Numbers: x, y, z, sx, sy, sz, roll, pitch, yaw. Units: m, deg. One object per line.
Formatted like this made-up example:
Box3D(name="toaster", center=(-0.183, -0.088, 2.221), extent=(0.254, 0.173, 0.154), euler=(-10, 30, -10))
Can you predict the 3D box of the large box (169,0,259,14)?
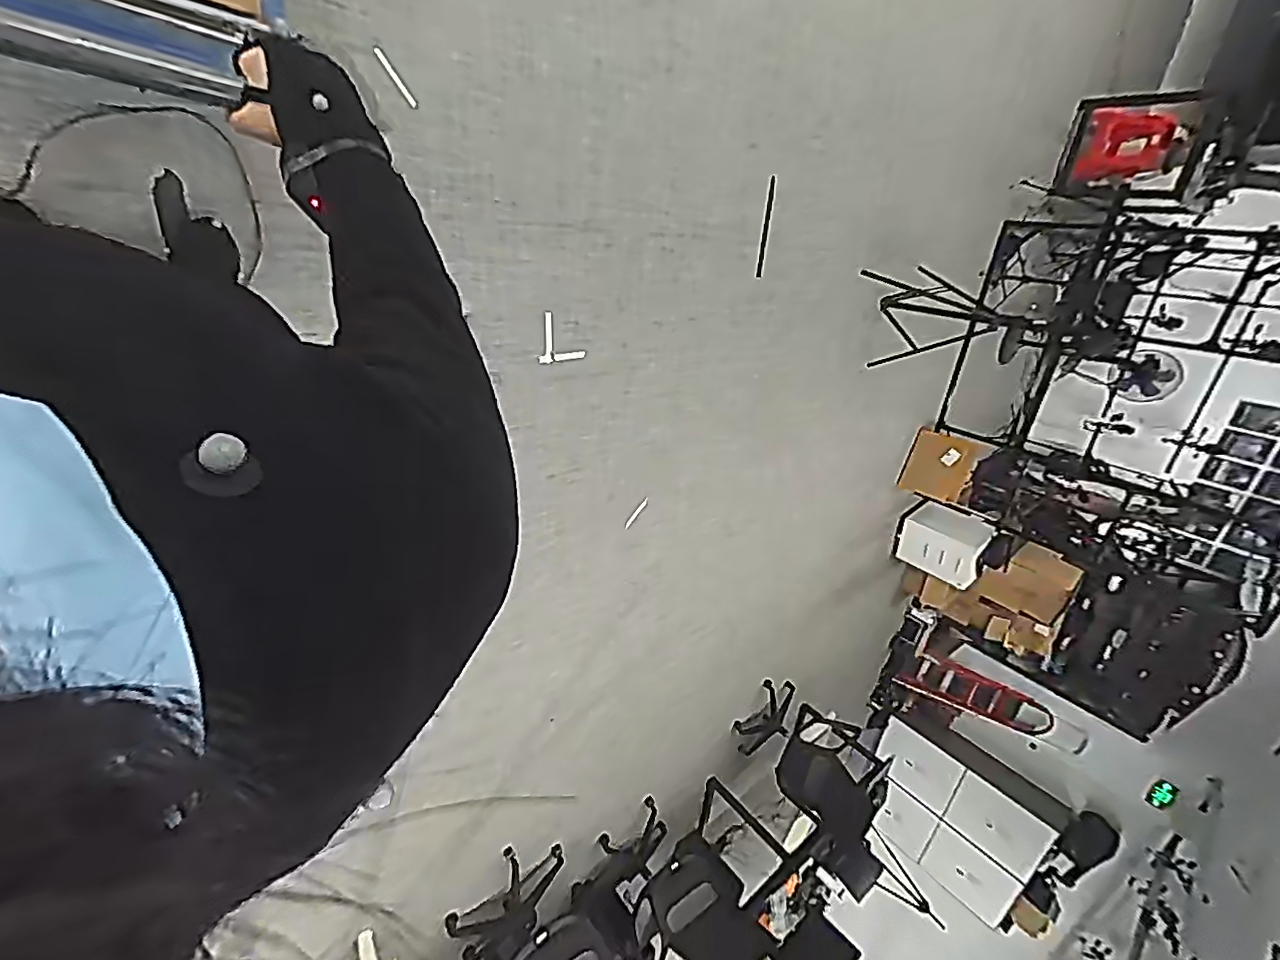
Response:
Box3D(name="large box", center=(-0.724, -0.806, 0.621), extent=(0.408, 0.320, 0.320), euler=(-12, 128, -41))
